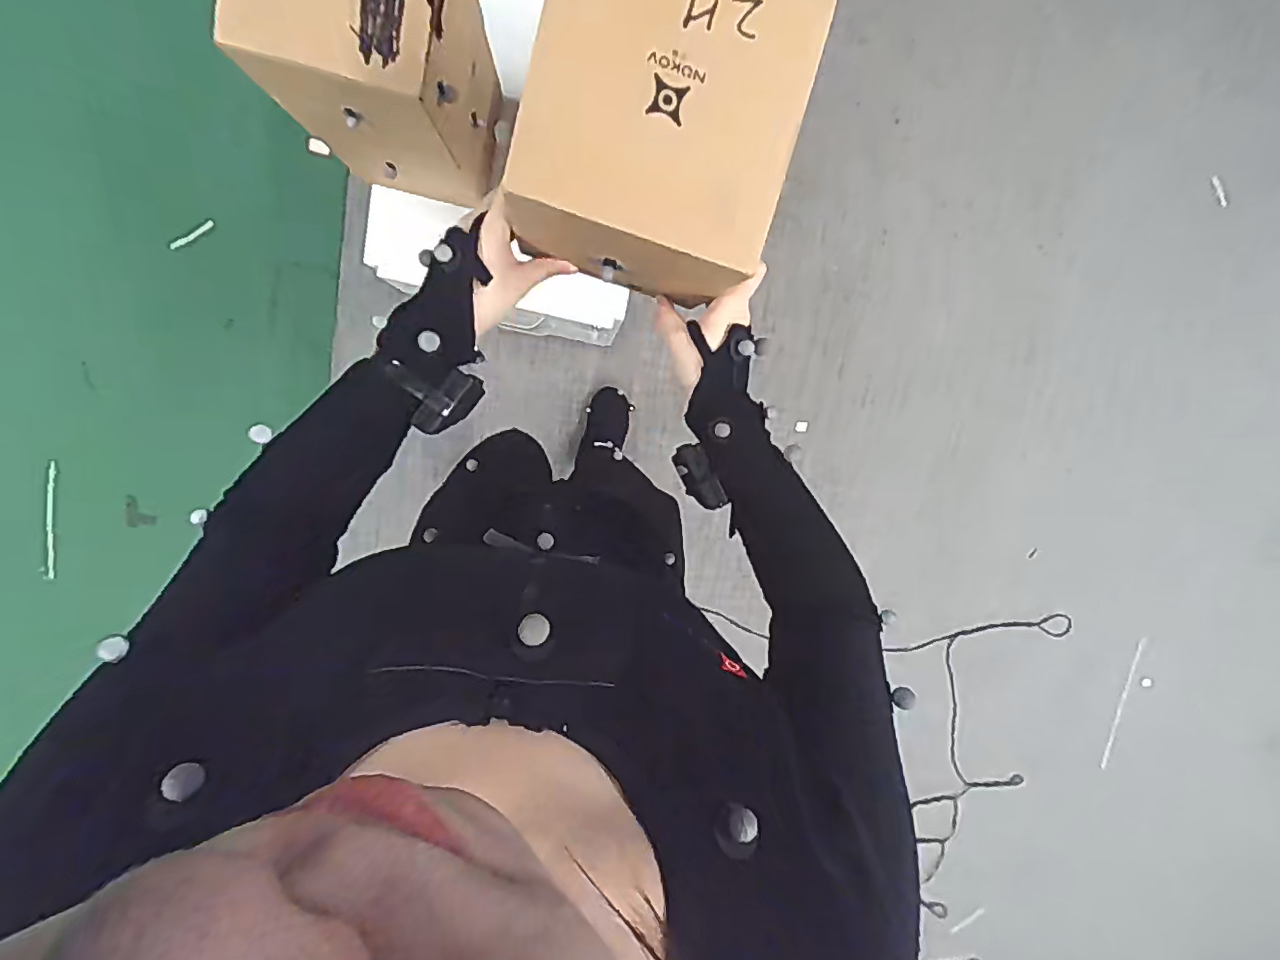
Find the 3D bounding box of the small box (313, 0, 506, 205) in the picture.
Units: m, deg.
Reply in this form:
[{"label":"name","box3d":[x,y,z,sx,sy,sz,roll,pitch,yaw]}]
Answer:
[{"label":"small box","box3d":[-0.285,-0.482,0.702,0.179,0.176,0.168,11,99,-8]}]

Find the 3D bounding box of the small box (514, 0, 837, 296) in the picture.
[{"label":"small box","box3d":[0.011,-0.255,0.409,0.168,0.176,0.179,14,97,-12]}]
